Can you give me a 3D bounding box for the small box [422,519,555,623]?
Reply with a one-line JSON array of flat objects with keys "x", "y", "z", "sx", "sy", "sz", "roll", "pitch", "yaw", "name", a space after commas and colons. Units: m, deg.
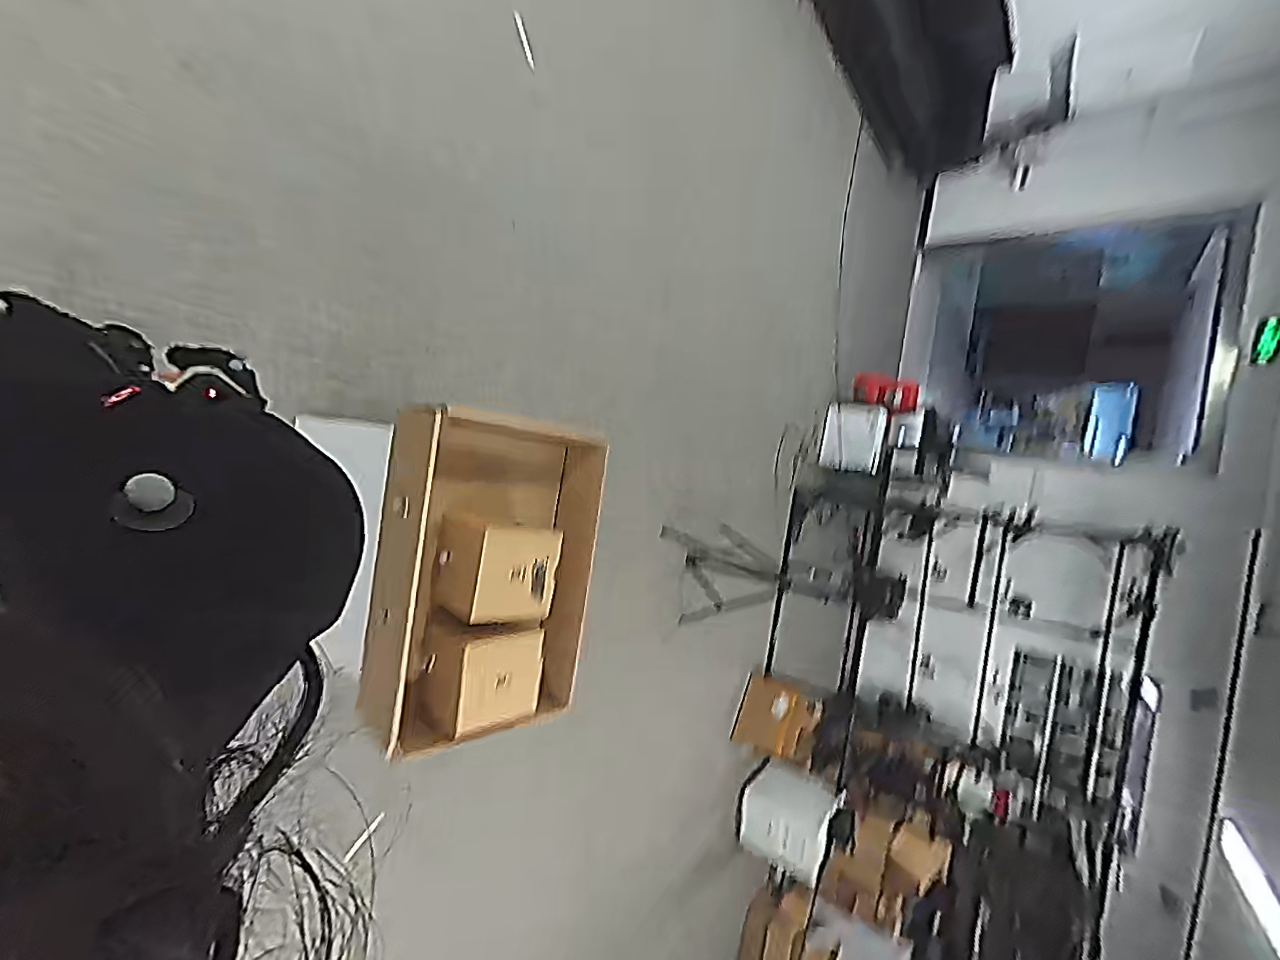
[{"x": -0.299, "y": 0.174, "z": 1.066, "sx": 0.179, "sy": 0.176, "sz": 0.168, "roll": 11, "pitch": 88, "yaw": -47, "name": "small box"}]
